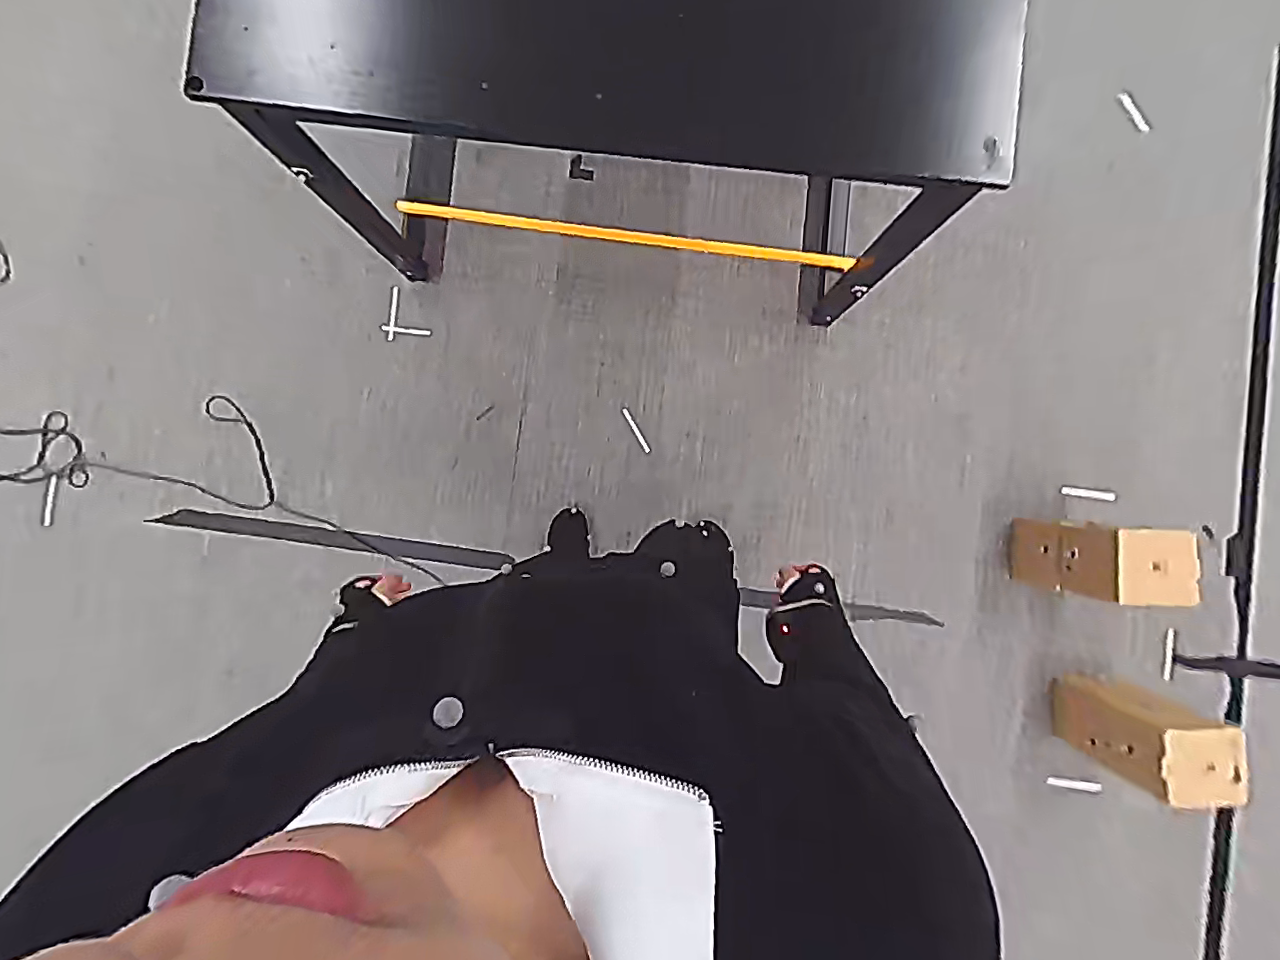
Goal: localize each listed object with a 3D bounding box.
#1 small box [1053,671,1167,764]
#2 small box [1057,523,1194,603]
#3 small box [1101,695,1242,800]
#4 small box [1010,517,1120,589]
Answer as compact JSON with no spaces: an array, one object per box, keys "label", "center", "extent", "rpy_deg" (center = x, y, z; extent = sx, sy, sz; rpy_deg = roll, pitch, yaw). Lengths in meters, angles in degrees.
[{"label":"small box","center":[1.222,0.616,1.413],"extent":[0.168,0.176,0.179],"rpy_deg":[1,89,0]},{"label":"small box","center":[1.120,0.187,1.257],"extent":[0.179,0.176,0.168],"rpy_deg":[0,87,1]},{"label":"small box","center":[1.213,0.610,1.249],"extent":[0.179,0.176,0.168],"rpy_deg":[-1,89,1]},{"label":"small box","center":[1.108,0.189,1.419],"extent":[0.168,0.176,0.179],"rpy_deg":[4,89,0]}]
